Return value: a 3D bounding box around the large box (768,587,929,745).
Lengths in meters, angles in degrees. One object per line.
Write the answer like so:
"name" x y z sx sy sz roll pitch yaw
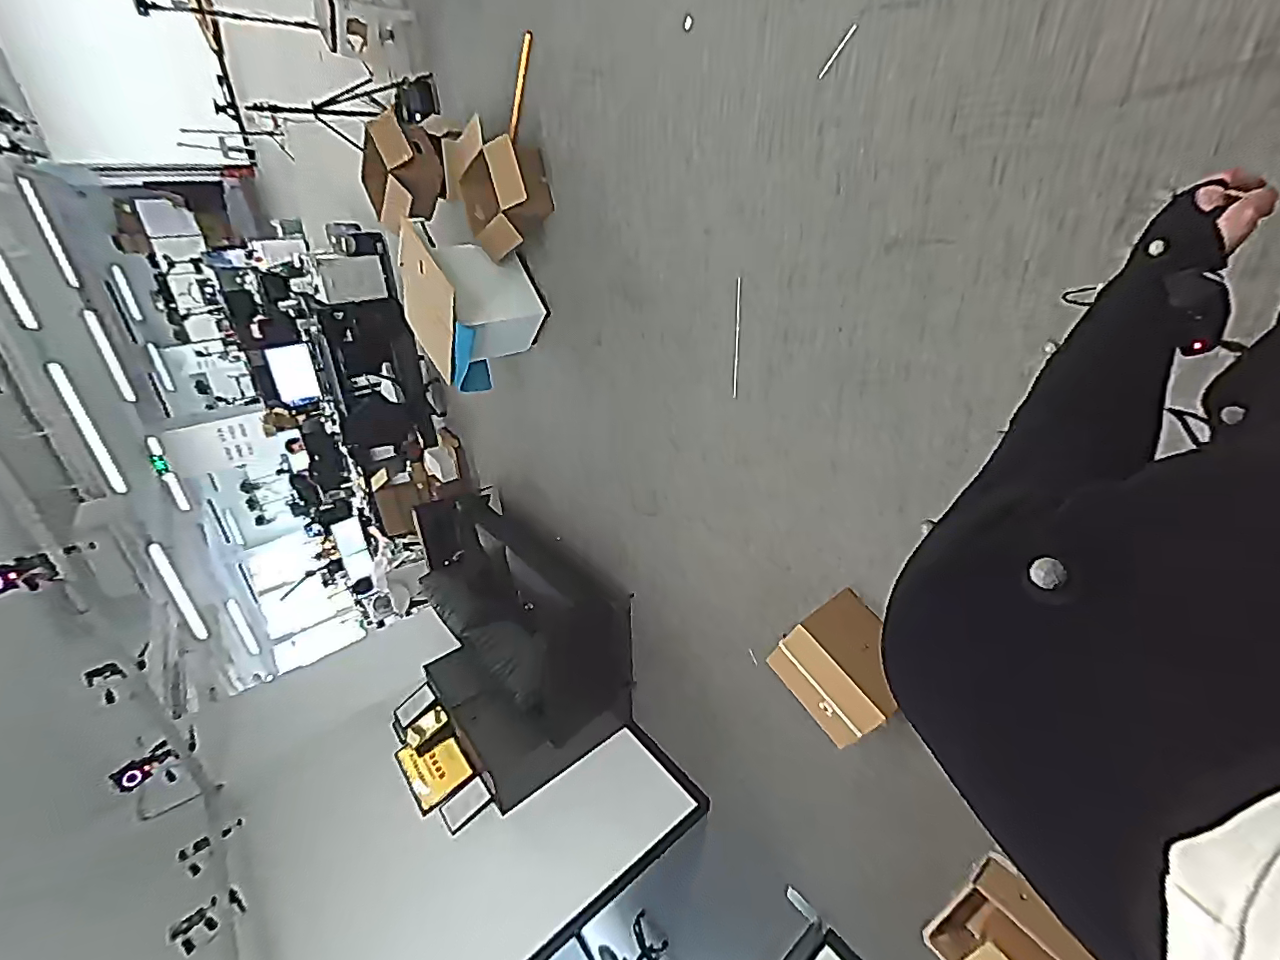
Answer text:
"large box" 0.772 0.689 2.036 0.408 0.320 0.320 48 142 26

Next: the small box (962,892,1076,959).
"small box" 0.990 1.239 1.410 0.168 0.176 0.179 37 134 38
